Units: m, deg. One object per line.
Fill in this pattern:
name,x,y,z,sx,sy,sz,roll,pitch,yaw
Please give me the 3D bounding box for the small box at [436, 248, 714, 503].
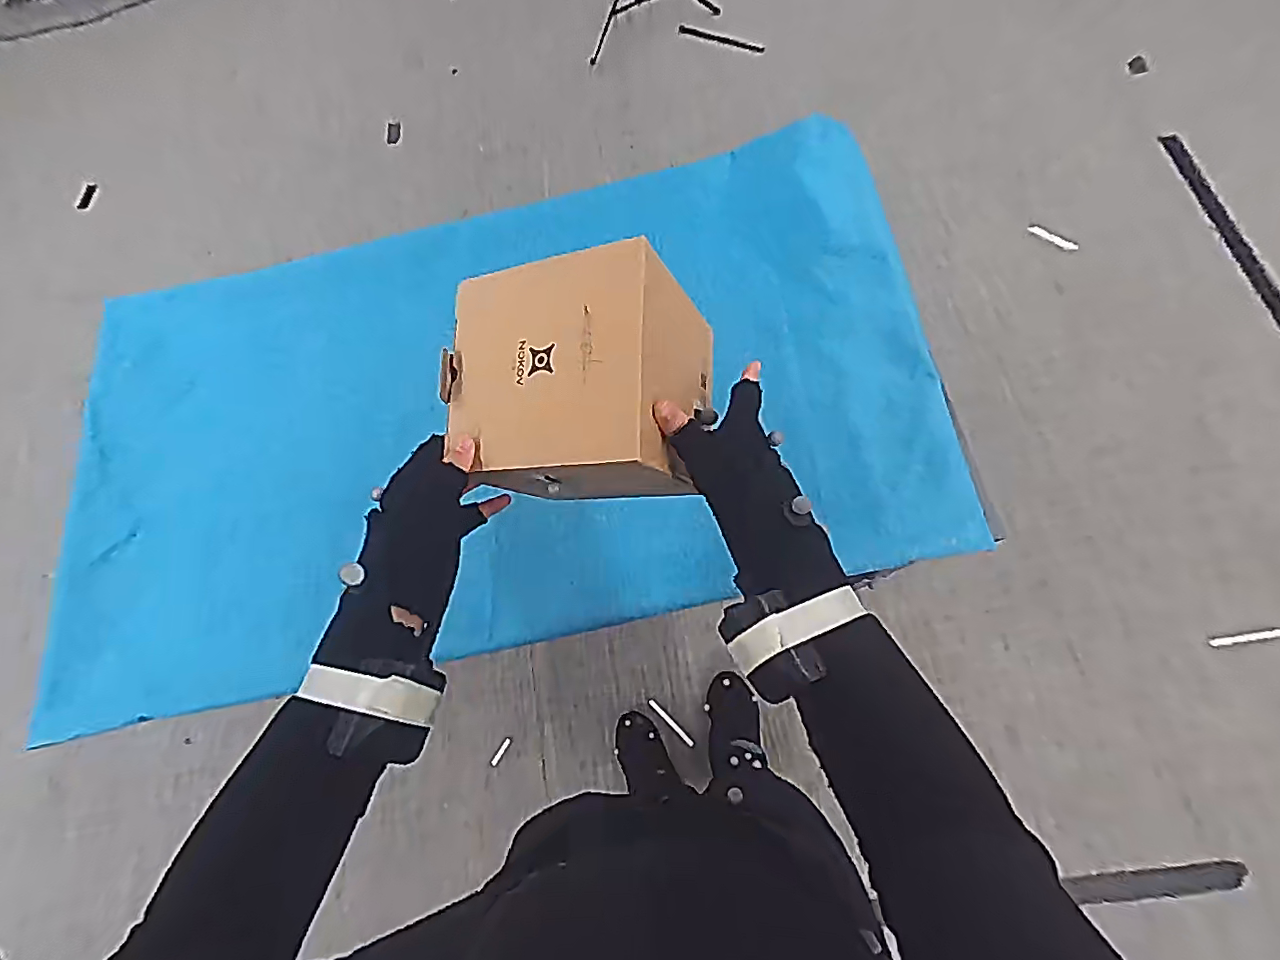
small box,-0.046,-0.070,0.478,0.179,0.176,0.168,-1,80,25
